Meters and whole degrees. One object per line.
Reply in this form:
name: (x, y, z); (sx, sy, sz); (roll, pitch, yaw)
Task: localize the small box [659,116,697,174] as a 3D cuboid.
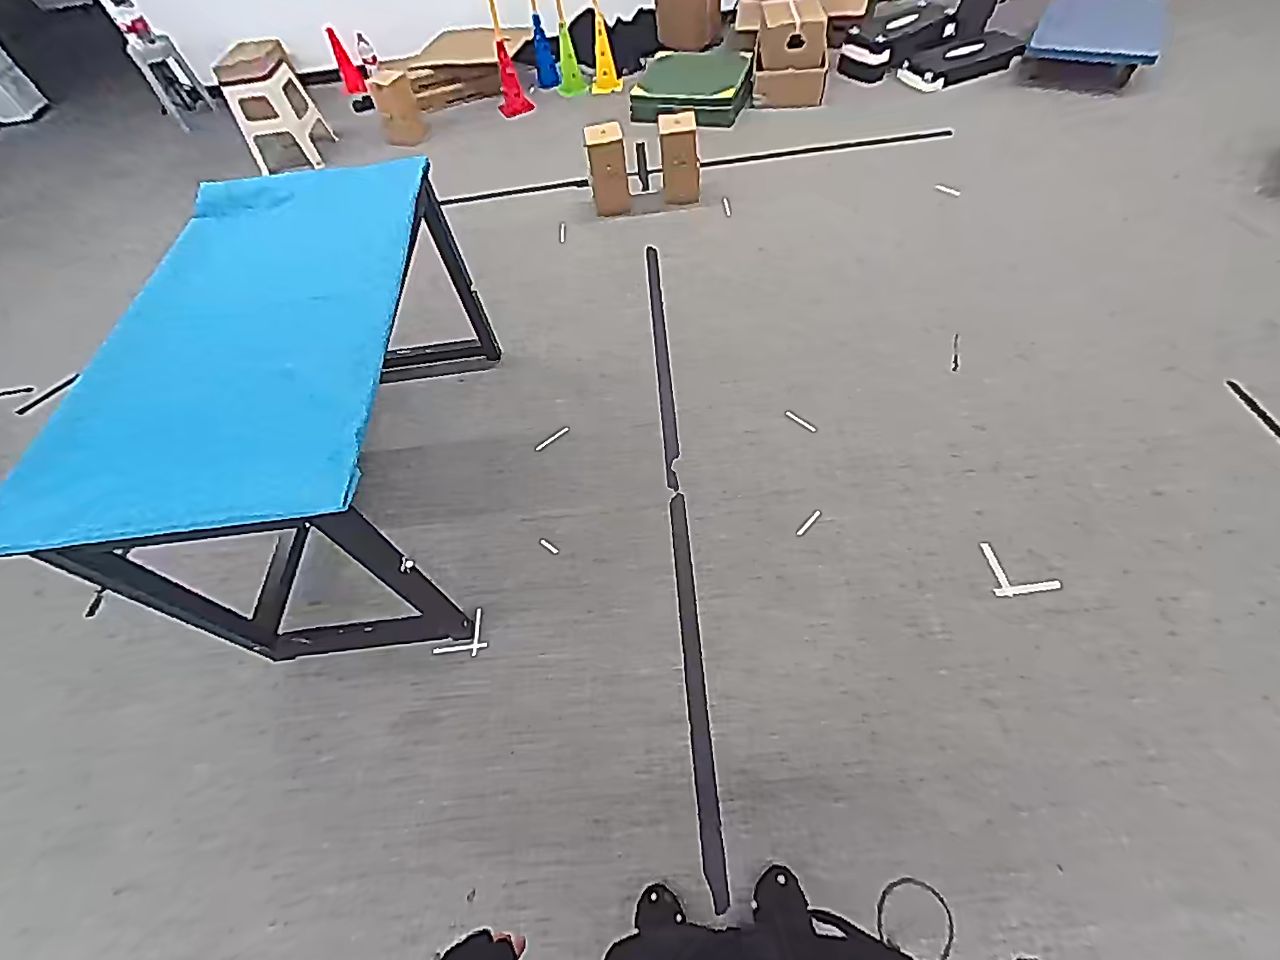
small box: (0.177, -1.553, 2.509); (0.168, 0.176, 0.179); (-4, 57, 5)

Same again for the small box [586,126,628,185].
small box: (-0.155, -1.507, 2.513); (0.168, 0.176, 0.179); (-10, 56, 1)

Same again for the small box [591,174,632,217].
small box: (-0.139, -1.412, 2.646); (0.179, 0.176, 0.168); (-8, 56, 0)

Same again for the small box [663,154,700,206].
small box: (0.201, -1.467, 2.645); (0.179, 0.176, 0.168); (-2, 56, 4)
